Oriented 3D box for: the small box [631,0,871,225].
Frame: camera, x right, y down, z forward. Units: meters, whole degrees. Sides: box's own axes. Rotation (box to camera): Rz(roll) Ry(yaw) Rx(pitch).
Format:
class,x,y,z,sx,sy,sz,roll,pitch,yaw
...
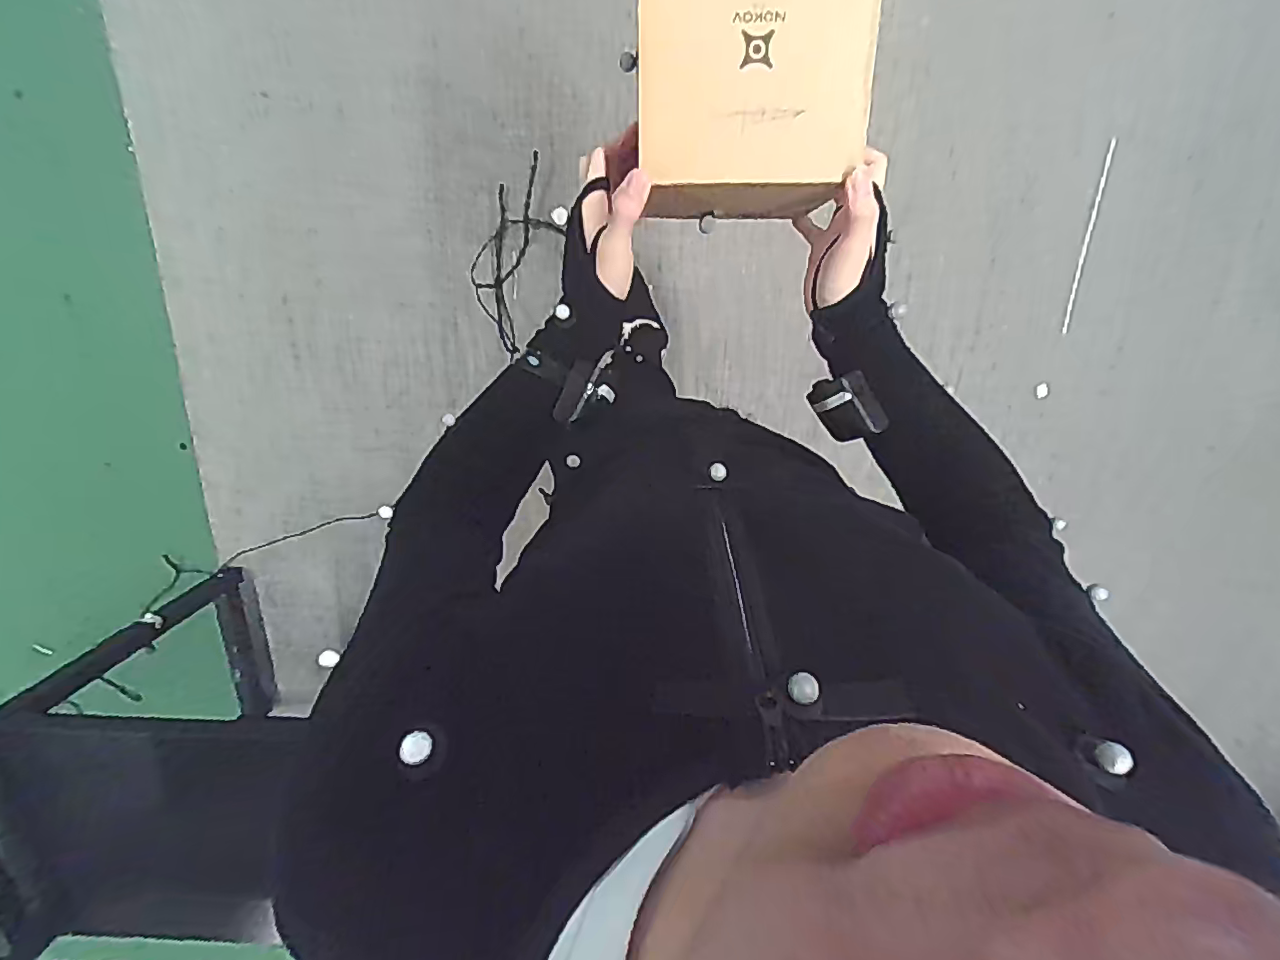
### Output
class,x,y,z,sx,sy,sz,roll,pitch,yaw
small box,0.076,-0.323,0.451,0.168,0.176,0.179,0,106,2
